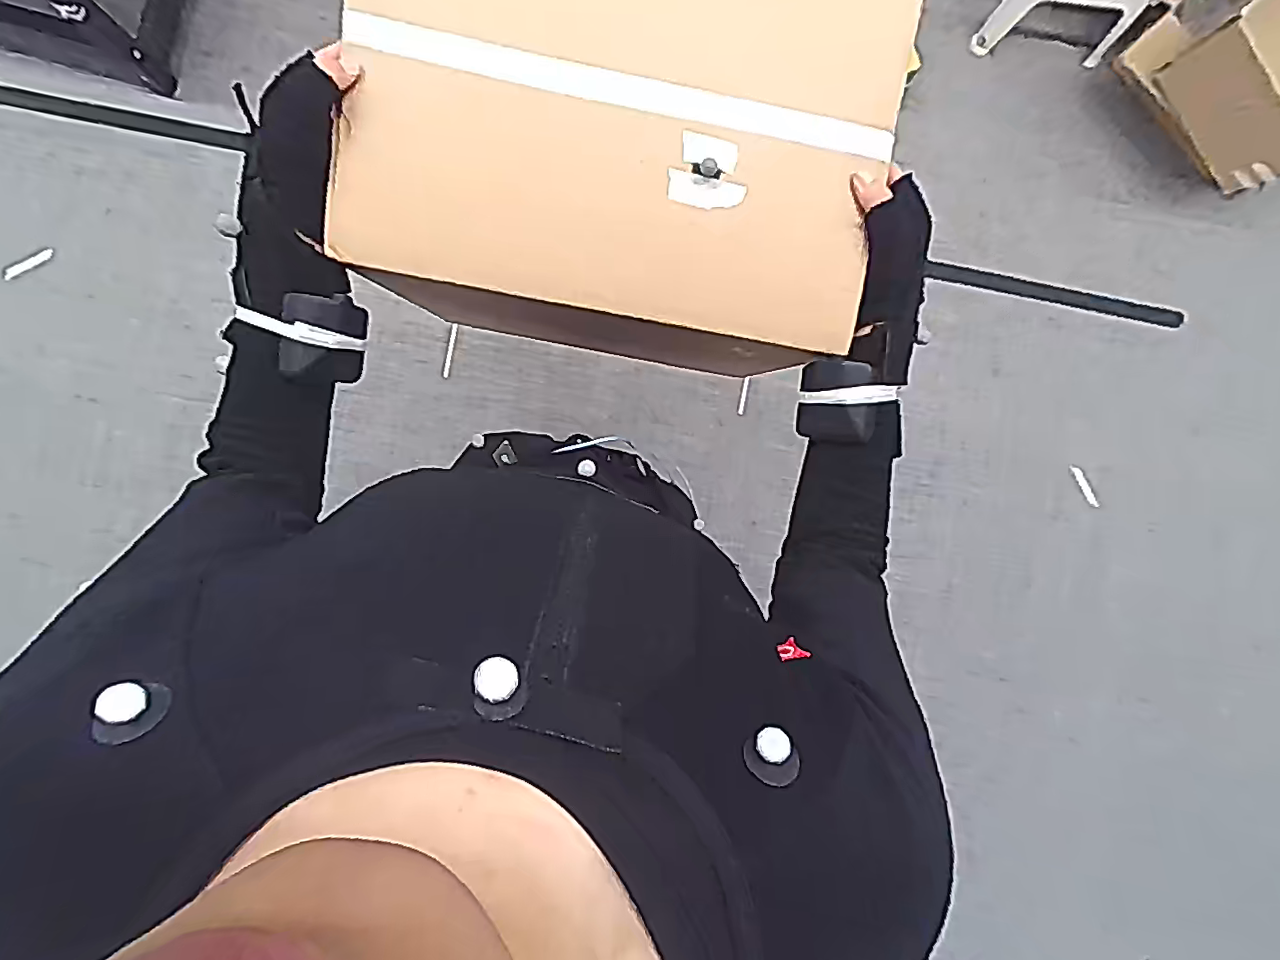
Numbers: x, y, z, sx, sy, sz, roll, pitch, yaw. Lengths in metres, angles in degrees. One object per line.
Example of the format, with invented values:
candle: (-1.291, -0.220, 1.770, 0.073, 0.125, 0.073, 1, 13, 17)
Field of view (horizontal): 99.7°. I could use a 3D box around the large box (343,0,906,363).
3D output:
large box: (-0.020, -0.314, 0.553, 0.408, 0.320, 0.320, 9, 98, -6)
